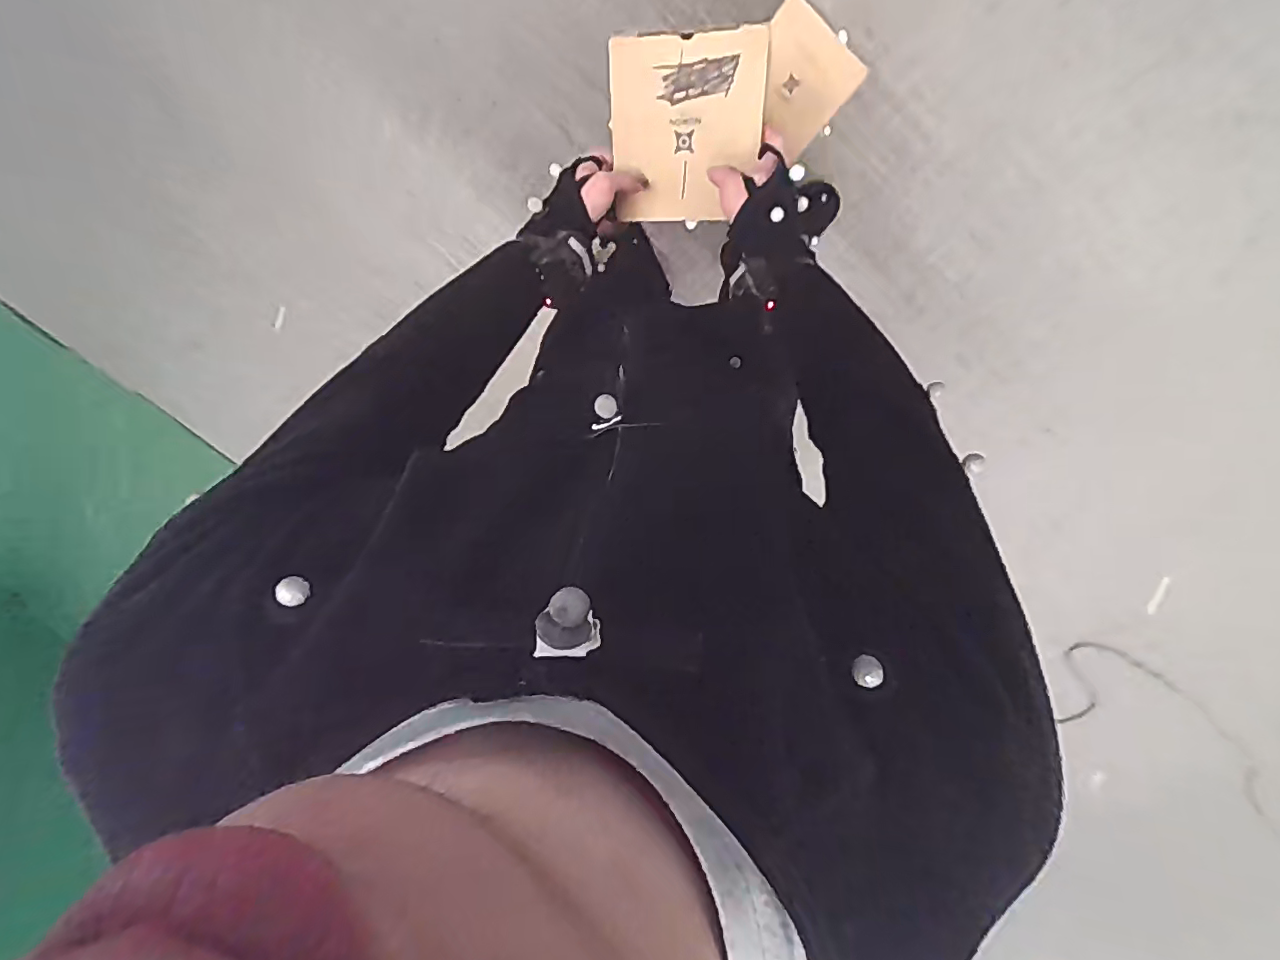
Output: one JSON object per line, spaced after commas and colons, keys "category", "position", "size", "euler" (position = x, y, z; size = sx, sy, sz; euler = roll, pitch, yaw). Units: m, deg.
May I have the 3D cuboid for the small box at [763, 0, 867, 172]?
{"category": "small box", "position": [0.257, -0.658, 0.914], "size": [0.168, 0.176, 0.179], "euler": [40, 125, -10]}

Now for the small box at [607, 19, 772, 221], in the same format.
{"category": "small box", "position": [0.062, -0.407, 0.637], "size": [0.168, 0.176, 0.179], "euler": [5, 120, 11]}
